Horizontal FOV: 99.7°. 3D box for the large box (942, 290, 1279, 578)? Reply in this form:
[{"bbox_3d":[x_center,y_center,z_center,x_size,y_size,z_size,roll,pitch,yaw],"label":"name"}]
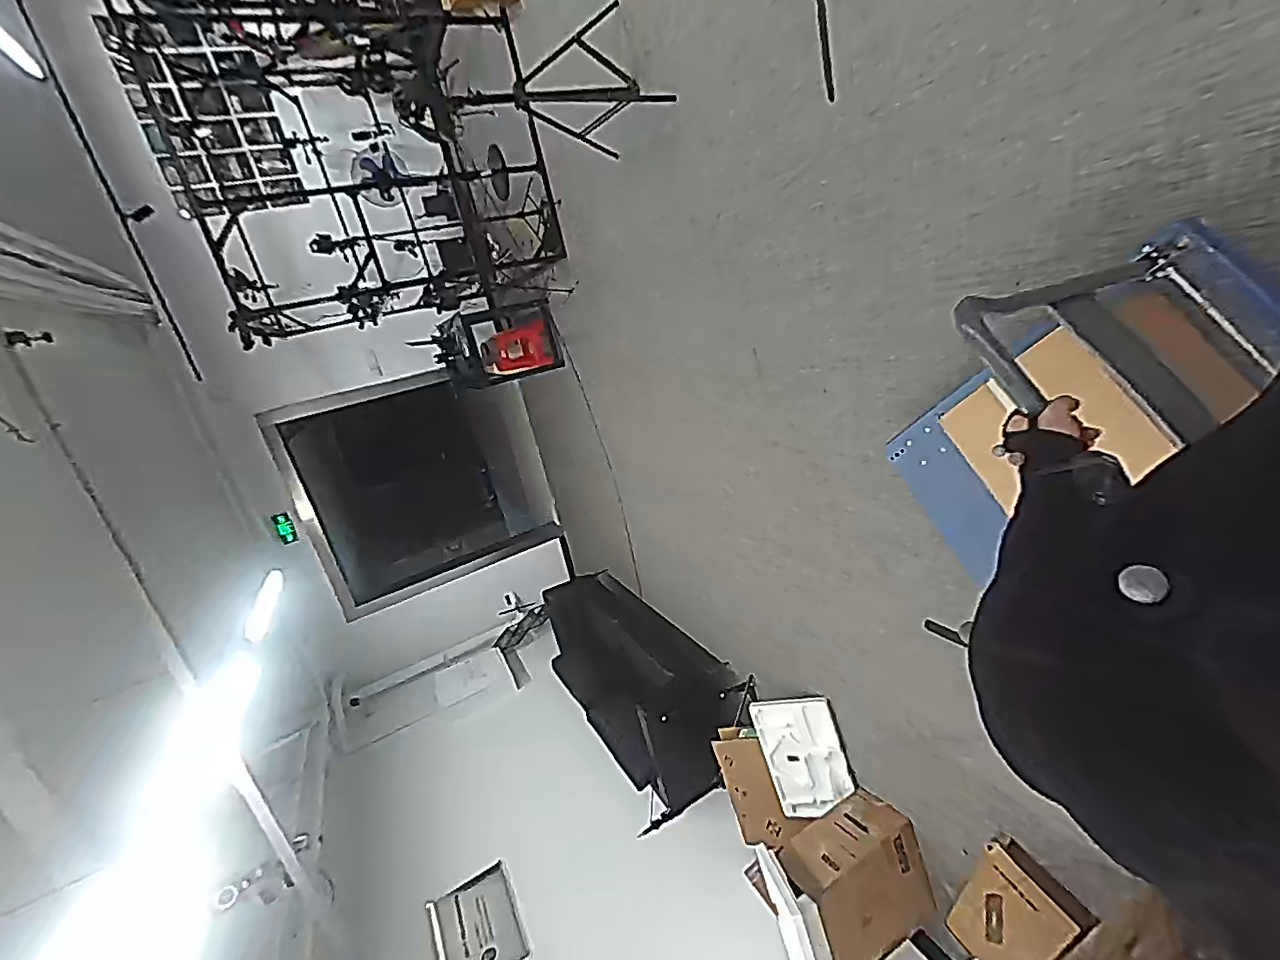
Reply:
[{"bbox_3d":[0.904,-0.084,1.033,0.408,0.320,0.320,63,157,18],"label":"large box"}]
